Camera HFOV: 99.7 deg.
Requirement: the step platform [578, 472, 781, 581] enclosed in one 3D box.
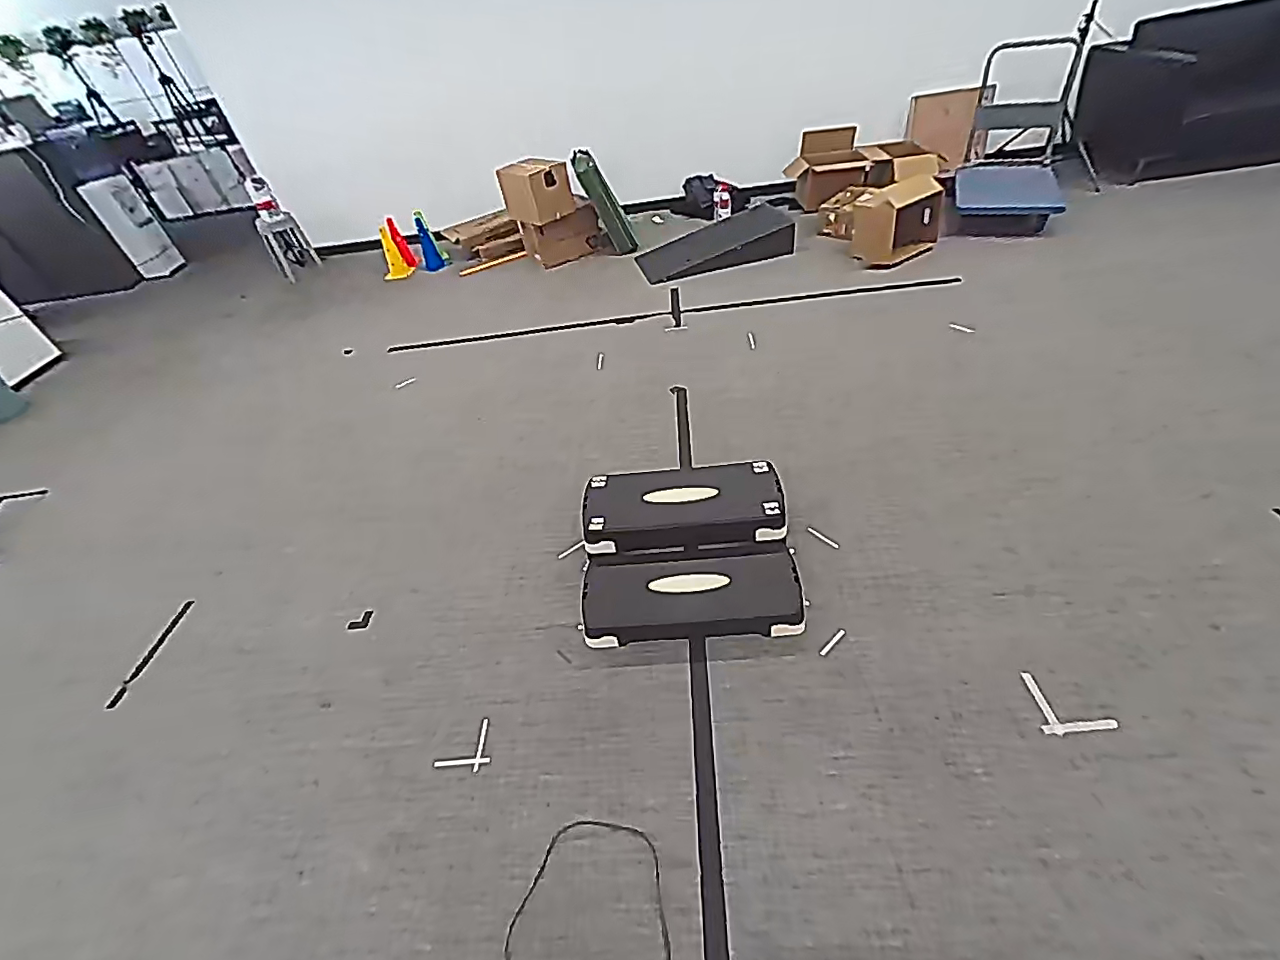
[{"bbox_3d":[0.129,0.153,1.849,0.684,0.204,0.286,-5,43,4],"label":"step platform"}]
